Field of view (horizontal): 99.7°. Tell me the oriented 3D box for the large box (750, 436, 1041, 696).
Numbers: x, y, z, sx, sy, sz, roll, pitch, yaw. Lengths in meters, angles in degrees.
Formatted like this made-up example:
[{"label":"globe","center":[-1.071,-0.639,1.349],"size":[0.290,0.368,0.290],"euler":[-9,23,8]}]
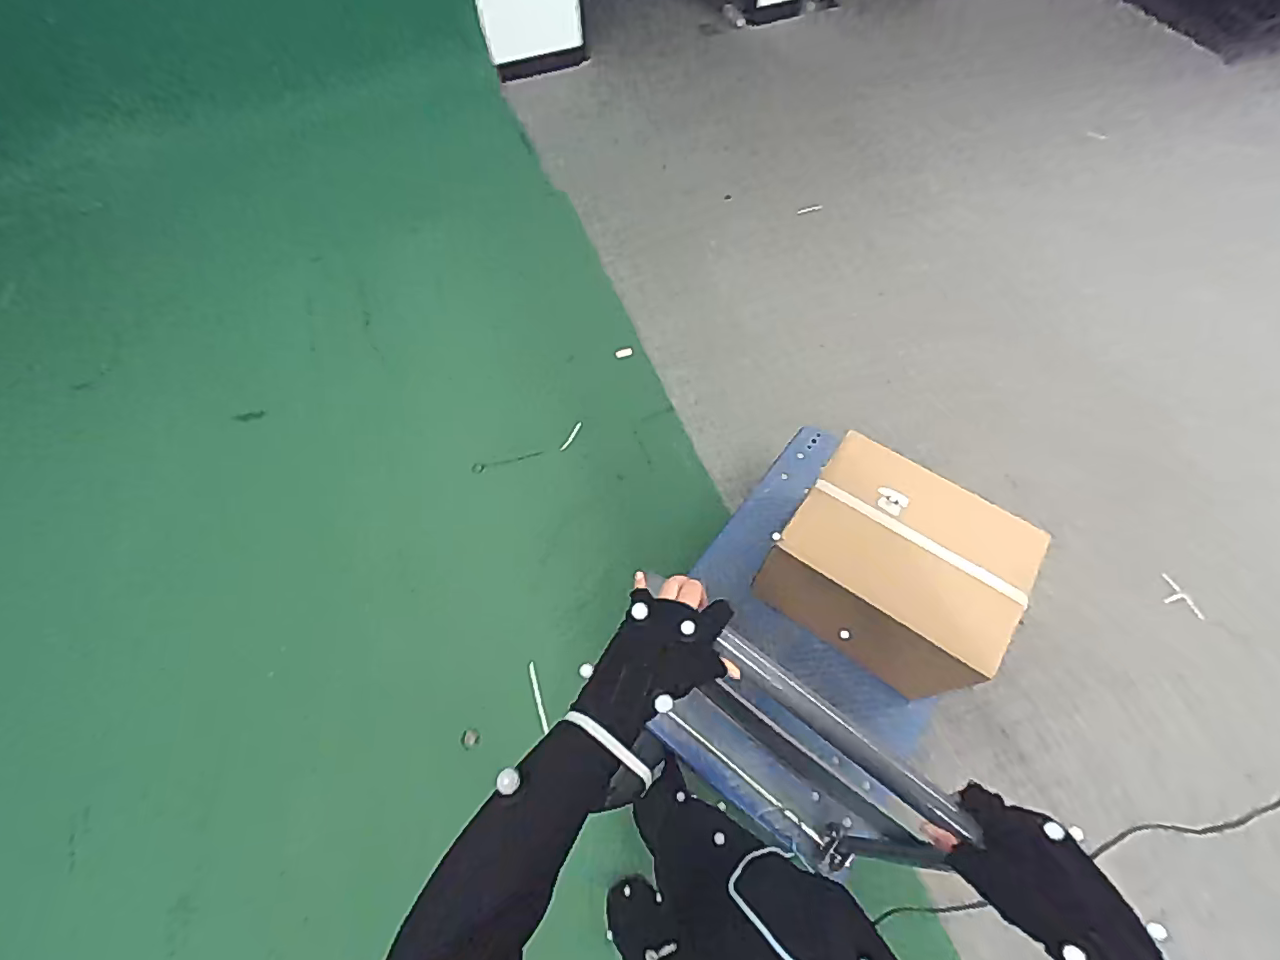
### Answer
[{"label":"large box","center":[0.493,0.185,1.121],"size":[0.408,0.320,0.320],"euler":[32,67,19]}]
